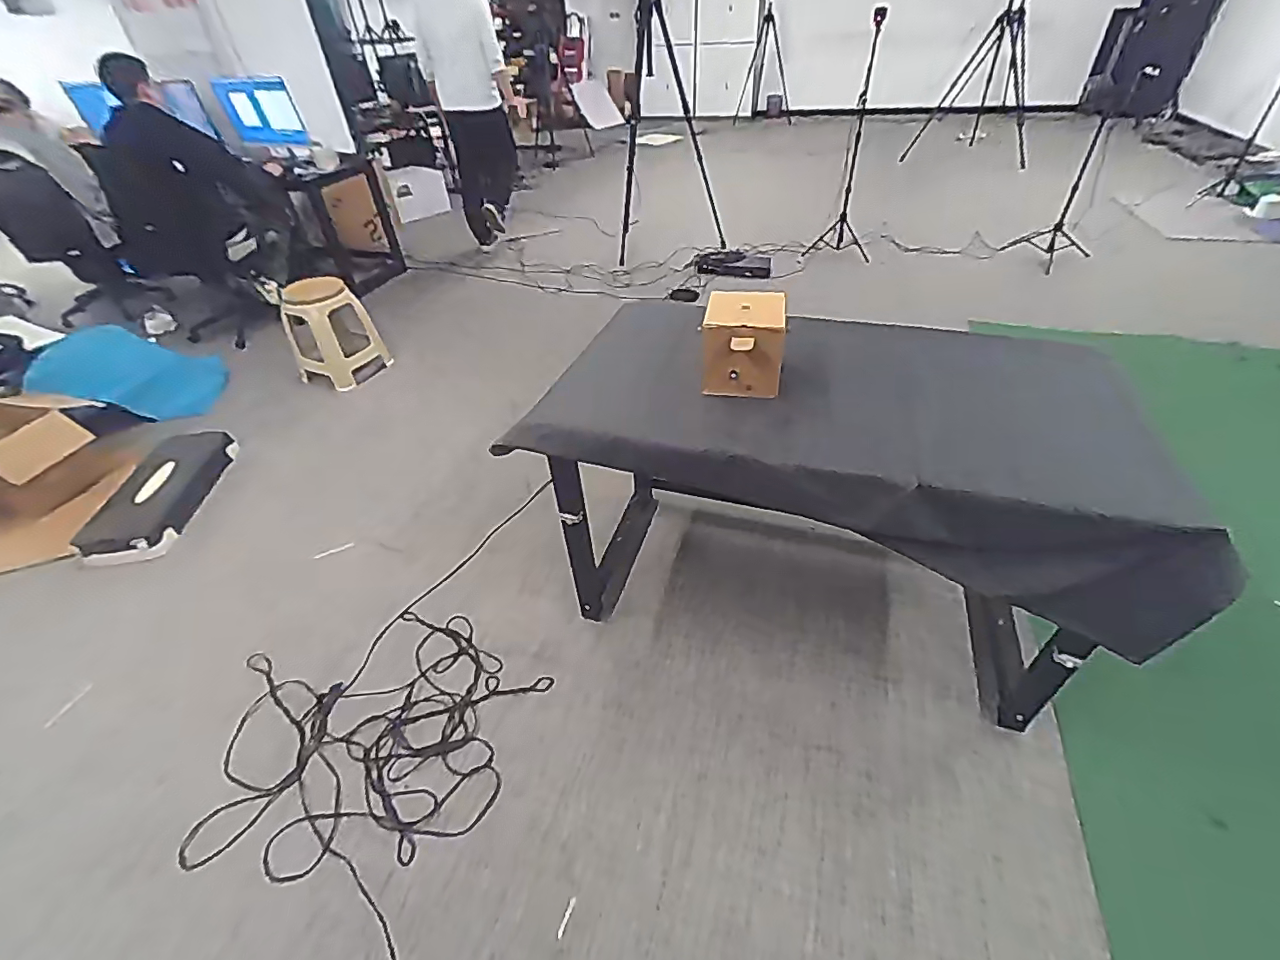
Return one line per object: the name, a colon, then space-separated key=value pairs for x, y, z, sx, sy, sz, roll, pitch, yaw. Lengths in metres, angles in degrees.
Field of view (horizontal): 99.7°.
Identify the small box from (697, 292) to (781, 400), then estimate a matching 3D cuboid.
small box: x=0.216 y=-0.298 z=1.195 sx=0.168 sy=0.176 sz=0.179 roll=5 pitch=42 yaw=9
